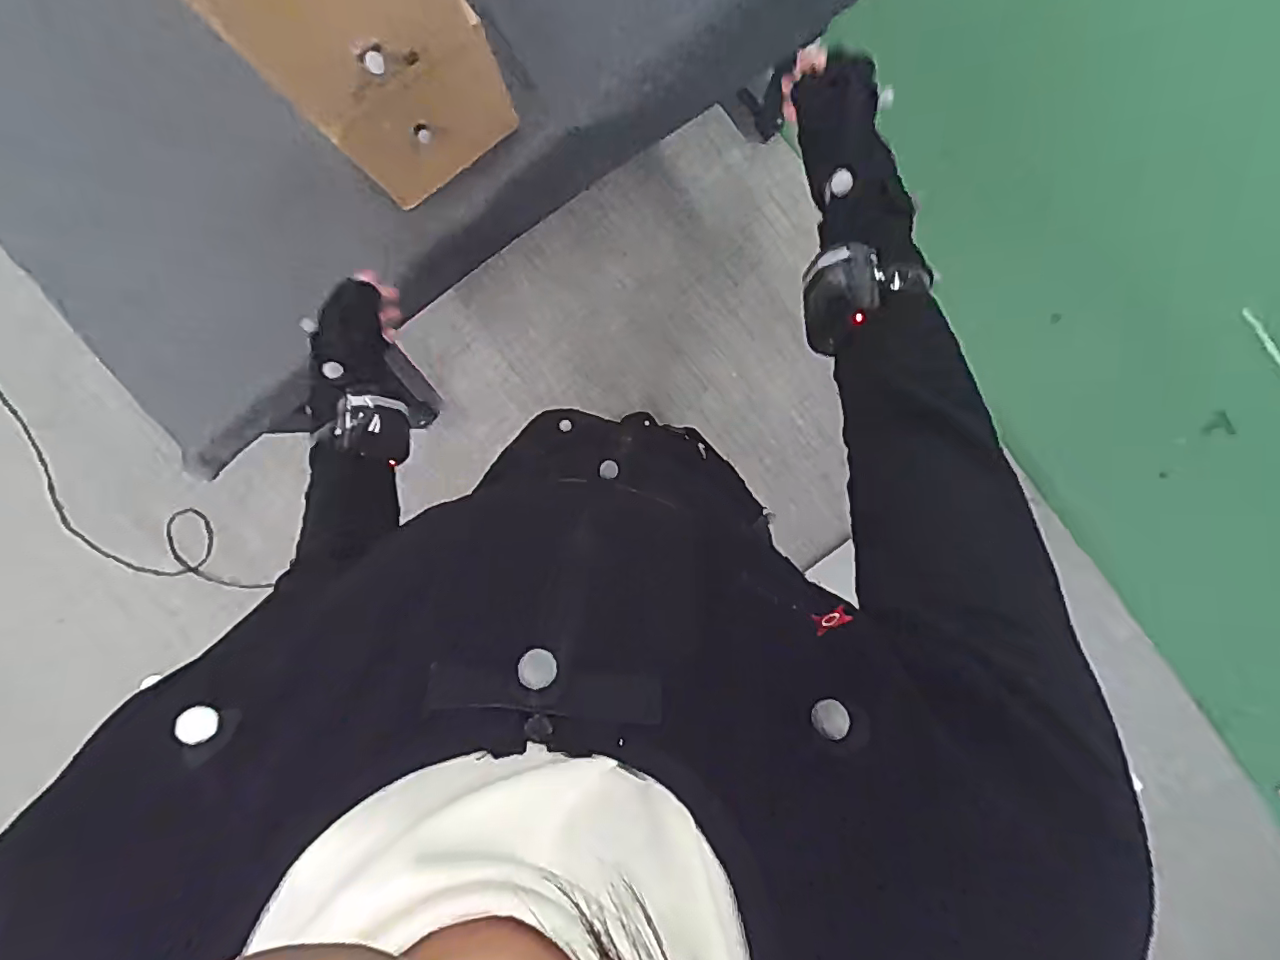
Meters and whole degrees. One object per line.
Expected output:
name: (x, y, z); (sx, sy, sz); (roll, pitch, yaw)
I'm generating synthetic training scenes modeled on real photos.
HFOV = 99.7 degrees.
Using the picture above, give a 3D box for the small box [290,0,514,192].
small box: (-0.261, -0.445, 0.565); (0.179, 0.176, 0.168); (-35, 94, 5)

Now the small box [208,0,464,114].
small box: (-0.267, -0.432, 0.401); (0.168, 0.176, 0.179); (-35, 92, 5)
